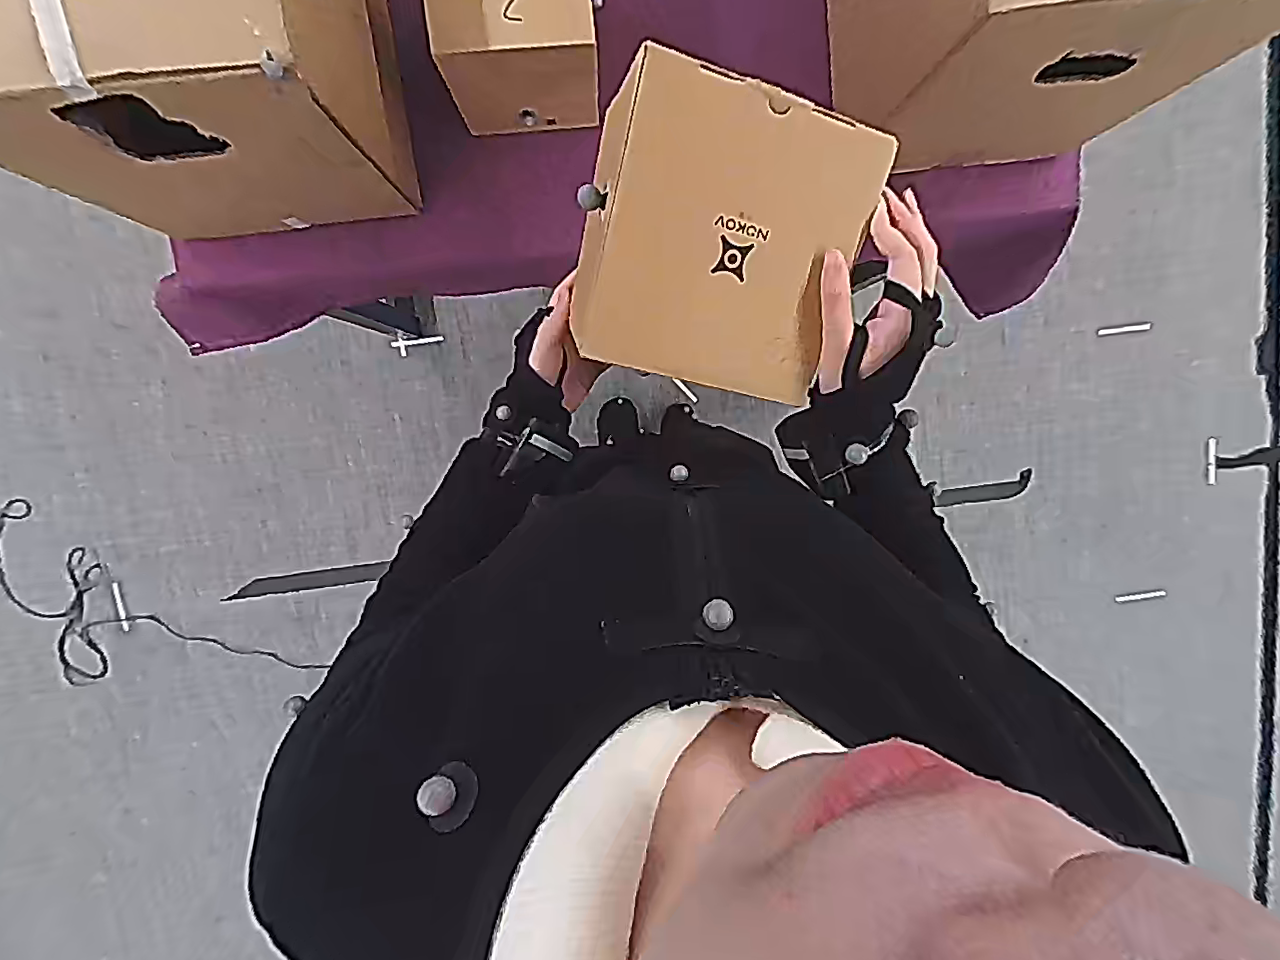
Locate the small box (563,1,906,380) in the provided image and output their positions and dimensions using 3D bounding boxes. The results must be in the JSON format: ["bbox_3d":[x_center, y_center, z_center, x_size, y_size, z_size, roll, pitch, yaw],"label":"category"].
[{"bbox_3d":[0.061,-0.174,0.372,0.179,0.176,0.168,11,92,4],"label":"small box"}]
